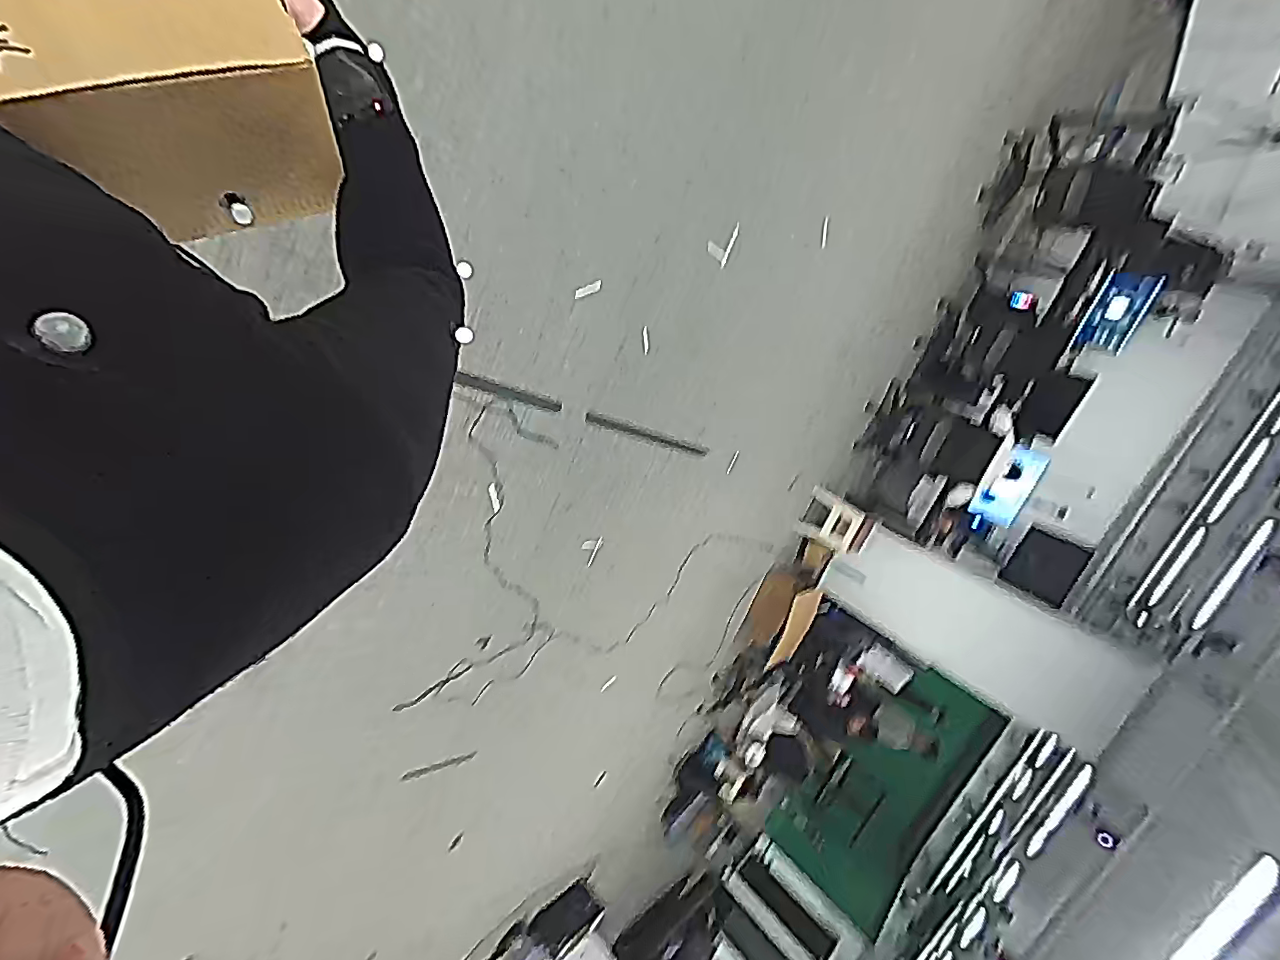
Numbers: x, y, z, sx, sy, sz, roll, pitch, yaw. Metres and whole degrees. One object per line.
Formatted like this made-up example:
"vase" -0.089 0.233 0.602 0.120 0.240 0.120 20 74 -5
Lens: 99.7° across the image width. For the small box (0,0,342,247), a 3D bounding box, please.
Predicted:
"small box" -0.343 -0.301 0.398 0.179 0.176 0.168 -24 94 -21
